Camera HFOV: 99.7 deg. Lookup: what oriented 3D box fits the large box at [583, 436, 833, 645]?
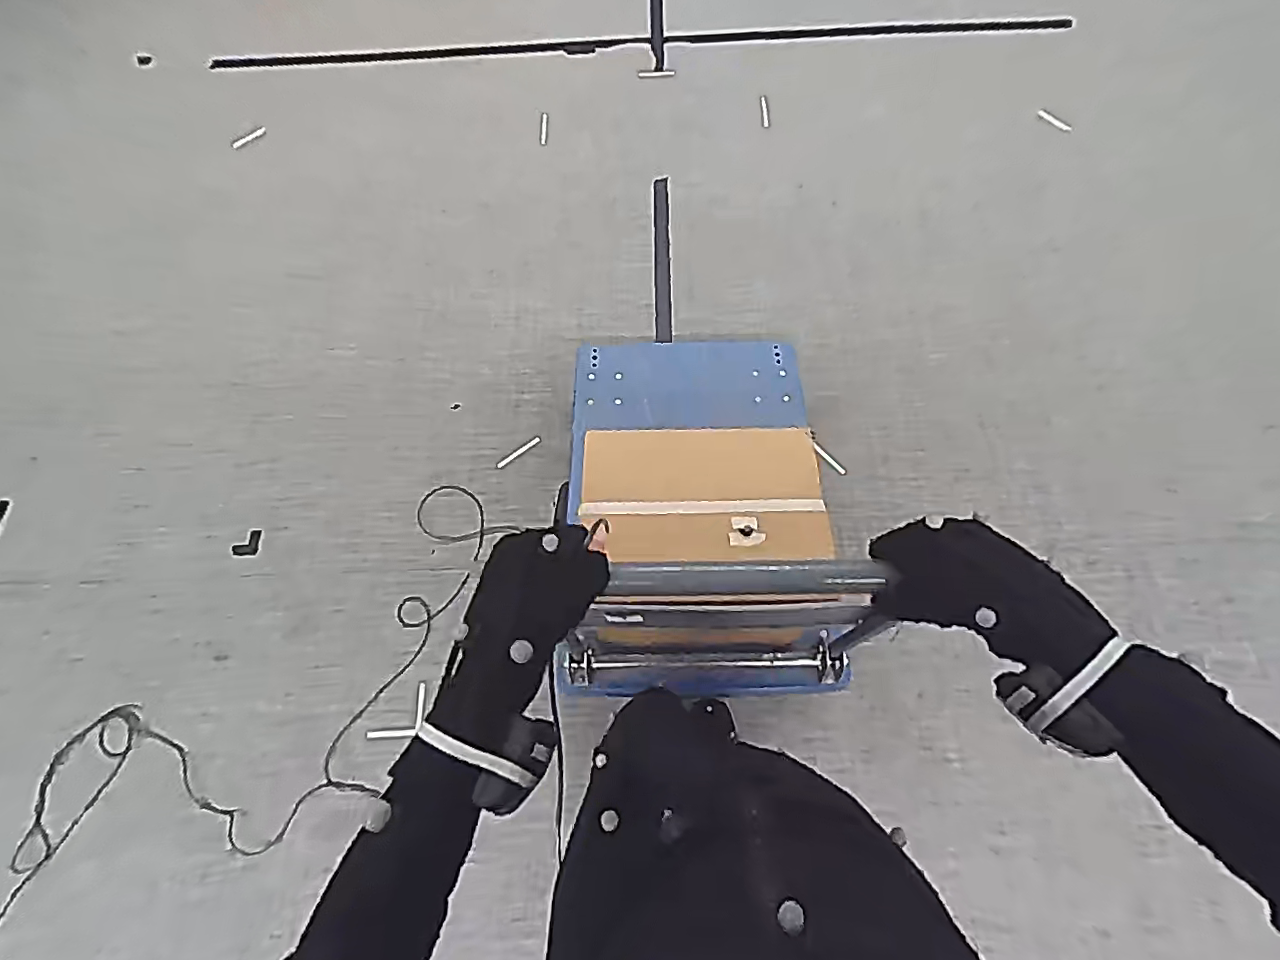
[{"bbox_3d":[0.104,0.128,1.047,0.408,0.320,0.320,-1,63,0],"label":"large box"}]
